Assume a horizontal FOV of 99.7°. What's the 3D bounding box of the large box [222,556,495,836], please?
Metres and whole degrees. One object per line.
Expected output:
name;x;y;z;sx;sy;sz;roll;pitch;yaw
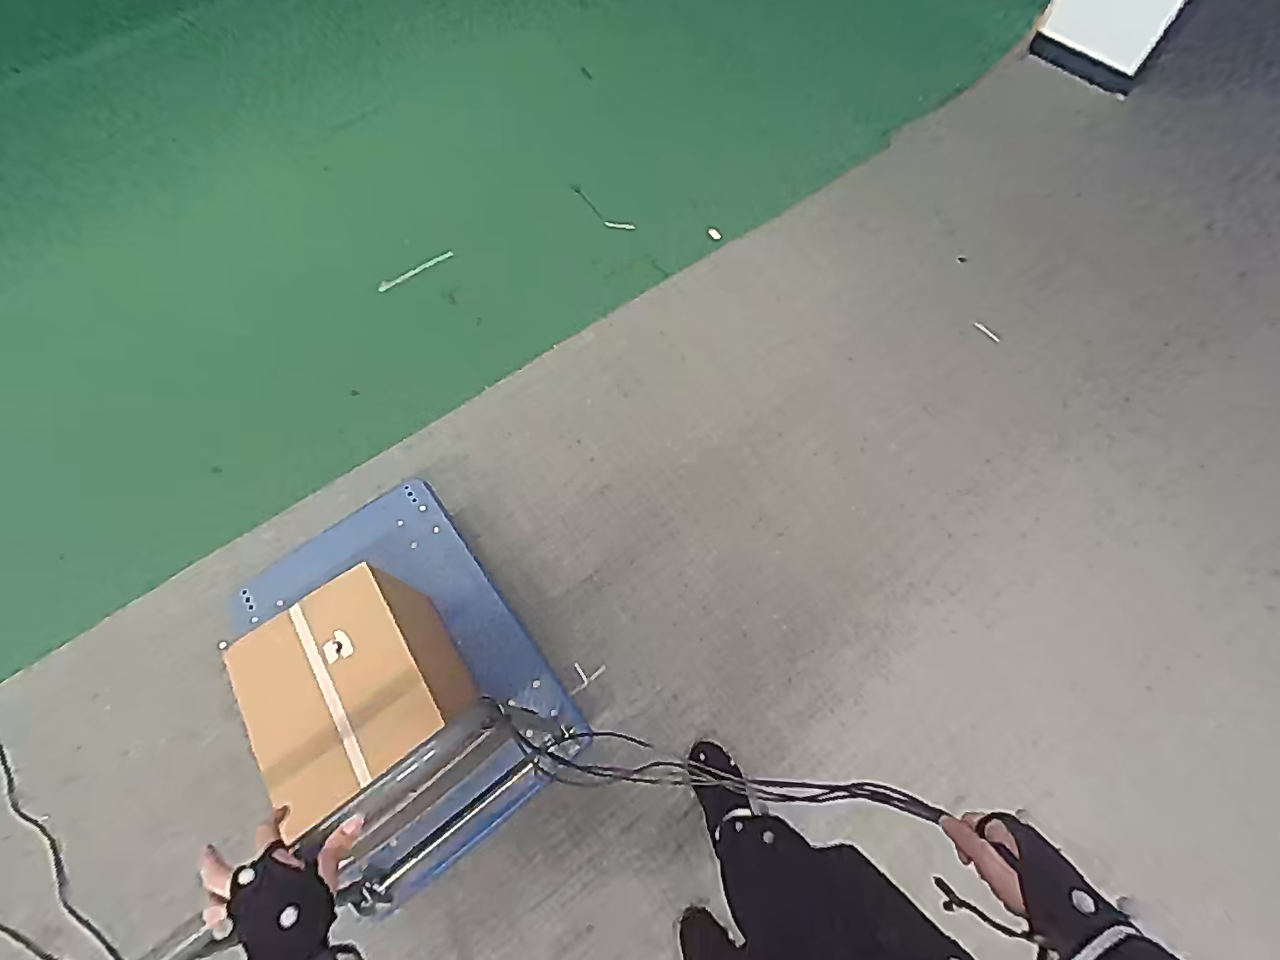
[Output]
large box;-0.572;0.441;1.147;0.320;0.320;0.408;-33;67;-11
